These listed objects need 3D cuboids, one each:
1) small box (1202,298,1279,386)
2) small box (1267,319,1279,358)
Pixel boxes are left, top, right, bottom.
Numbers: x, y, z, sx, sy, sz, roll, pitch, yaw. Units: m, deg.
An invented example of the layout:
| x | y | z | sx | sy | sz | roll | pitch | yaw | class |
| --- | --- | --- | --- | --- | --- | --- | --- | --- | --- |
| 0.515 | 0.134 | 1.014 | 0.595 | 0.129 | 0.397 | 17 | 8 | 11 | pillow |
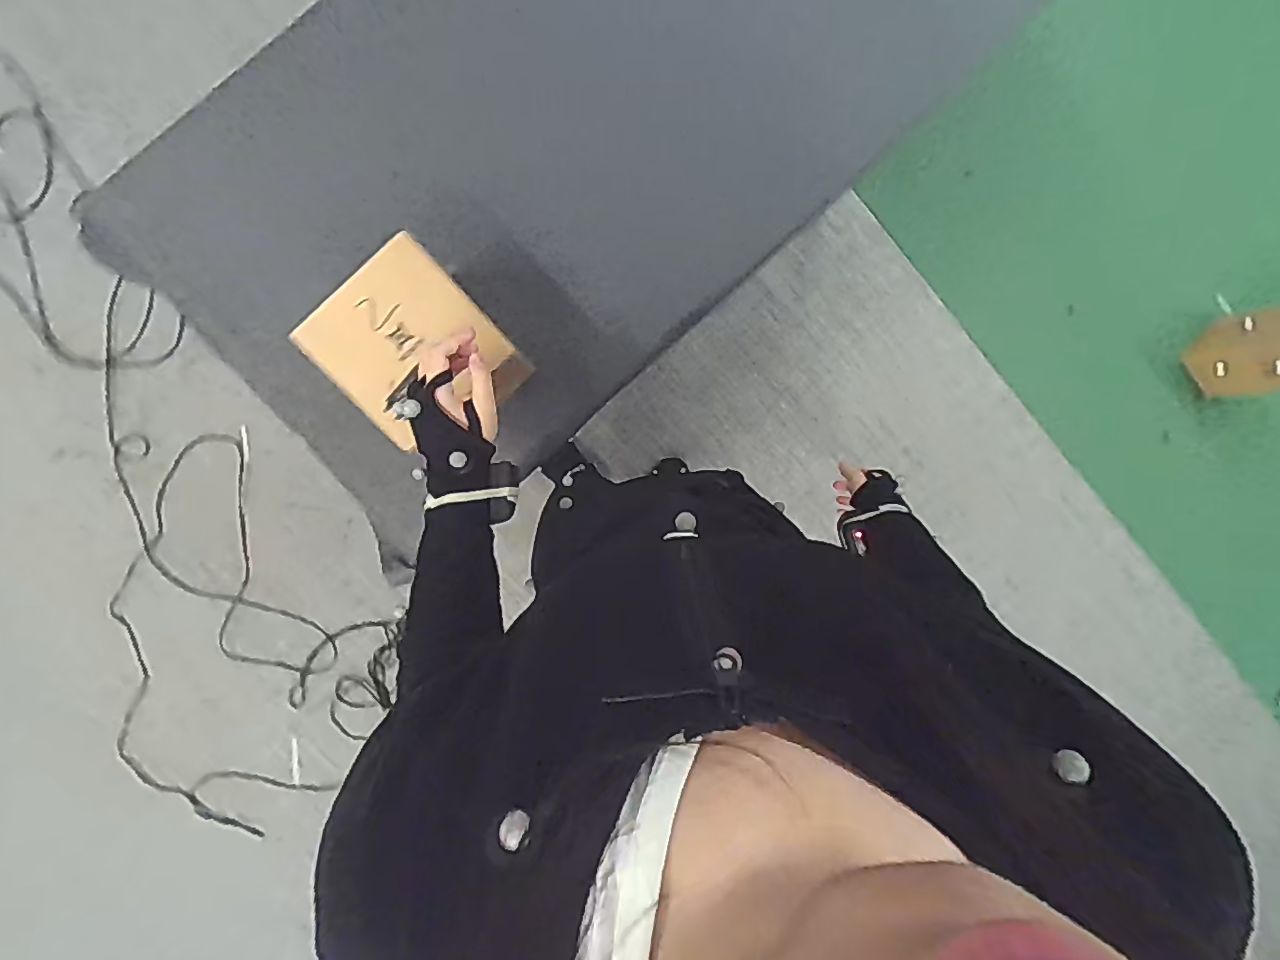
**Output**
| x | y | z | sx | sy | sz | roll | pitch | yaw | class |
| --- | --- | --- | --- | --- | --- | --- | --- | --- | --- |
| 1.739 | -0.382 | 1.503 | 0.179 | 0.176 | 0.168 | -43 | 95 | -1 | small box |
| 1.747 | -0.373 | 1.338 | 0.179 | 0.176 | 0.168 | -40 | 95 | 0 | small box |
